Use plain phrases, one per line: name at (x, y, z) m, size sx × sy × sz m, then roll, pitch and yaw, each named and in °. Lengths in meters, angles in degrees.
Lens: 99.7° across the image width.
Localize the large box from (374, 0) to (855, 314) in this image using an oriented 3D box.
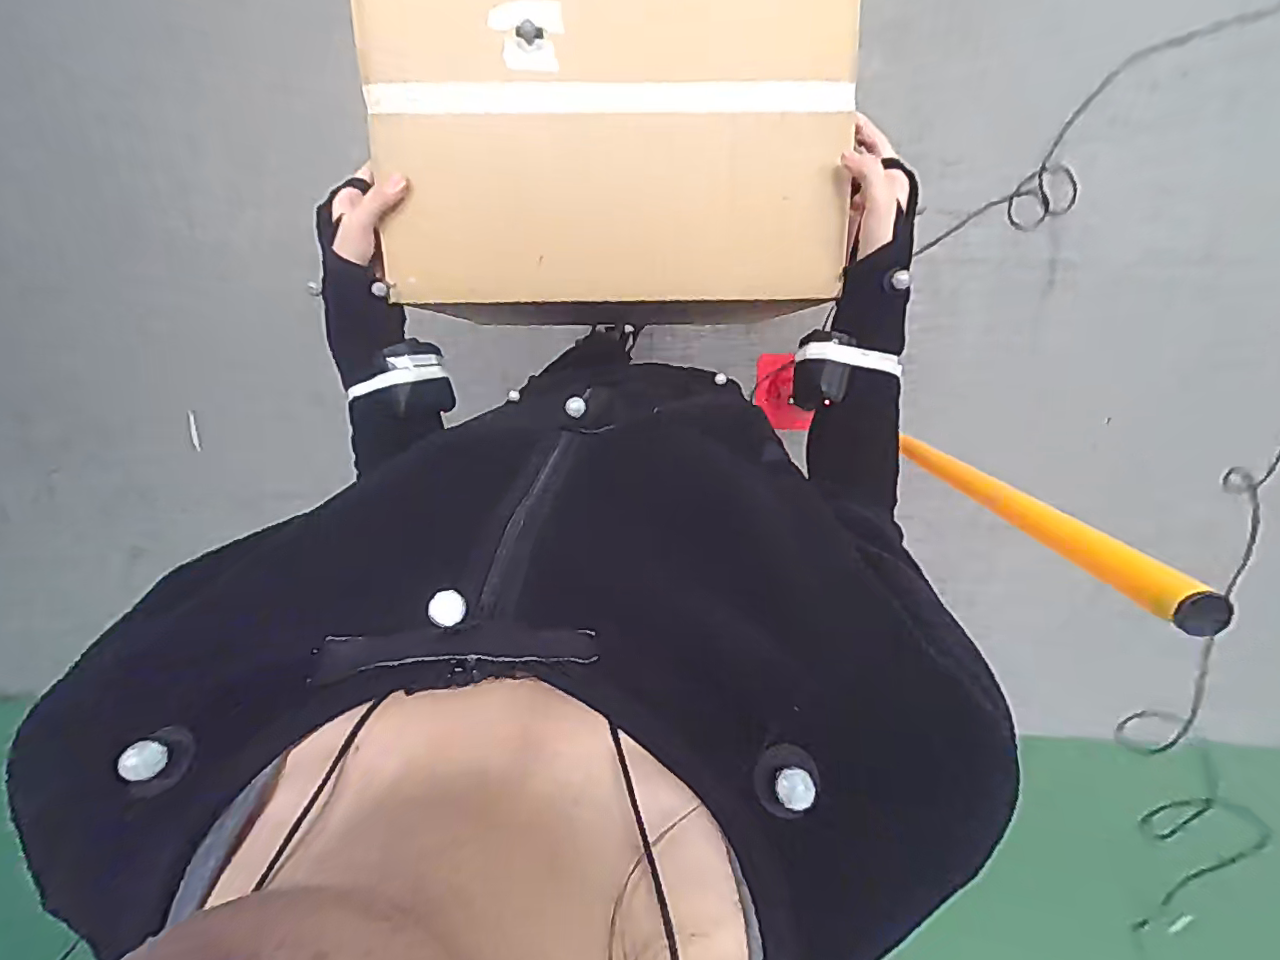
large box at (-0.022, -0.354, 0.605) m, size 0.408 × 0.320 × 0.320 m, roll 0°, pitch 102°, yaw -2°
